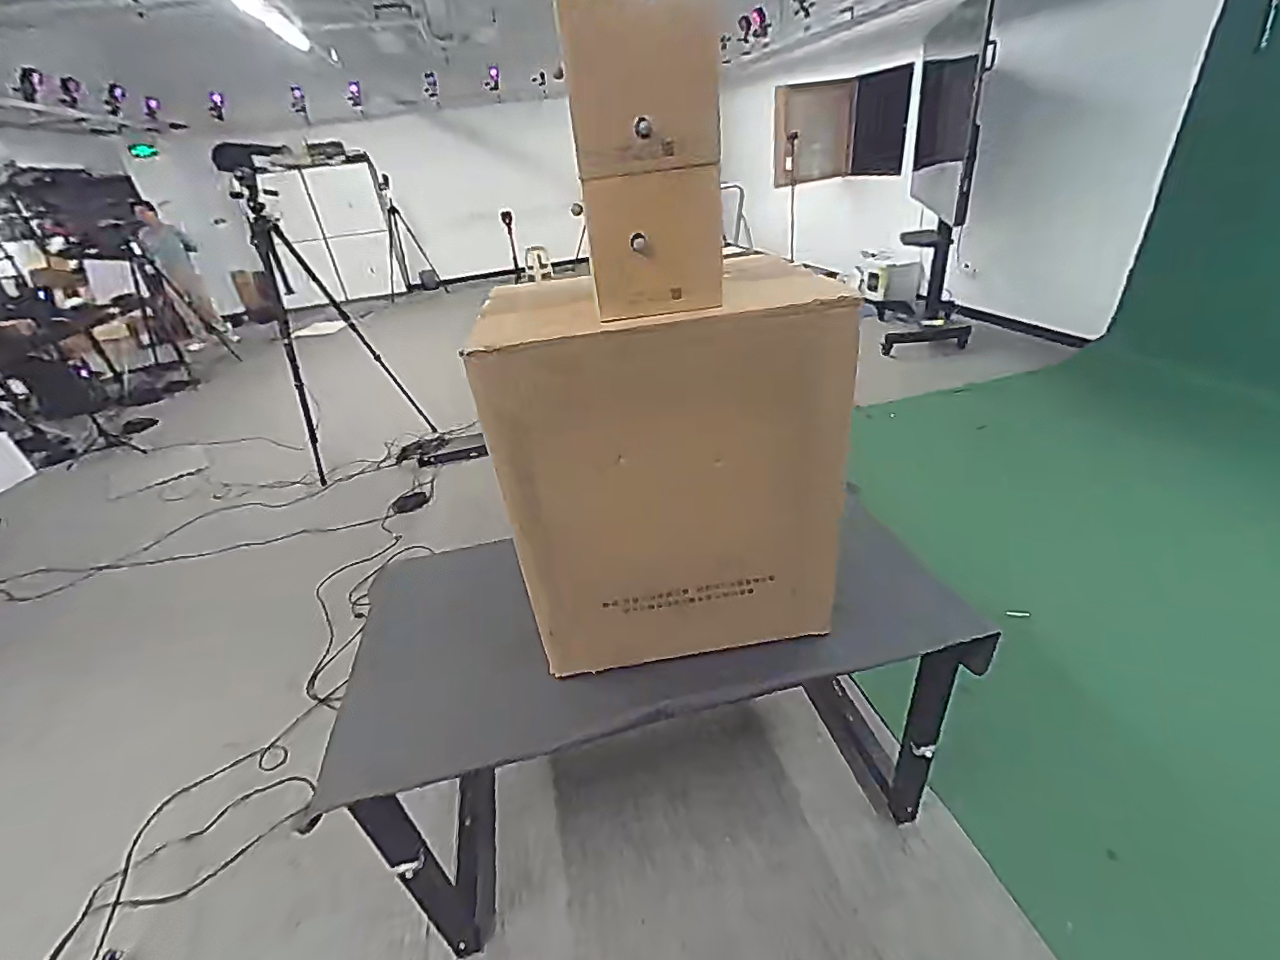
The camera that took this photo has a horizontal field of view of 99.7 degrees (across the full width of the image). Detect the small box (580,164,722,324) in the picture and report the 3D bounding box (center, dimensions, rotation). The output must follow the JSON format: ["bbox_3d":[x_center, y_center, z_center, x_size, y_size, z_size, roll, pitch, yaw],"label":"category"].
[{"bbox_3d":[0.014,-0.319,0.736,0.168,0.176,0.179,-8,32,-1],"label":"small box"}]
